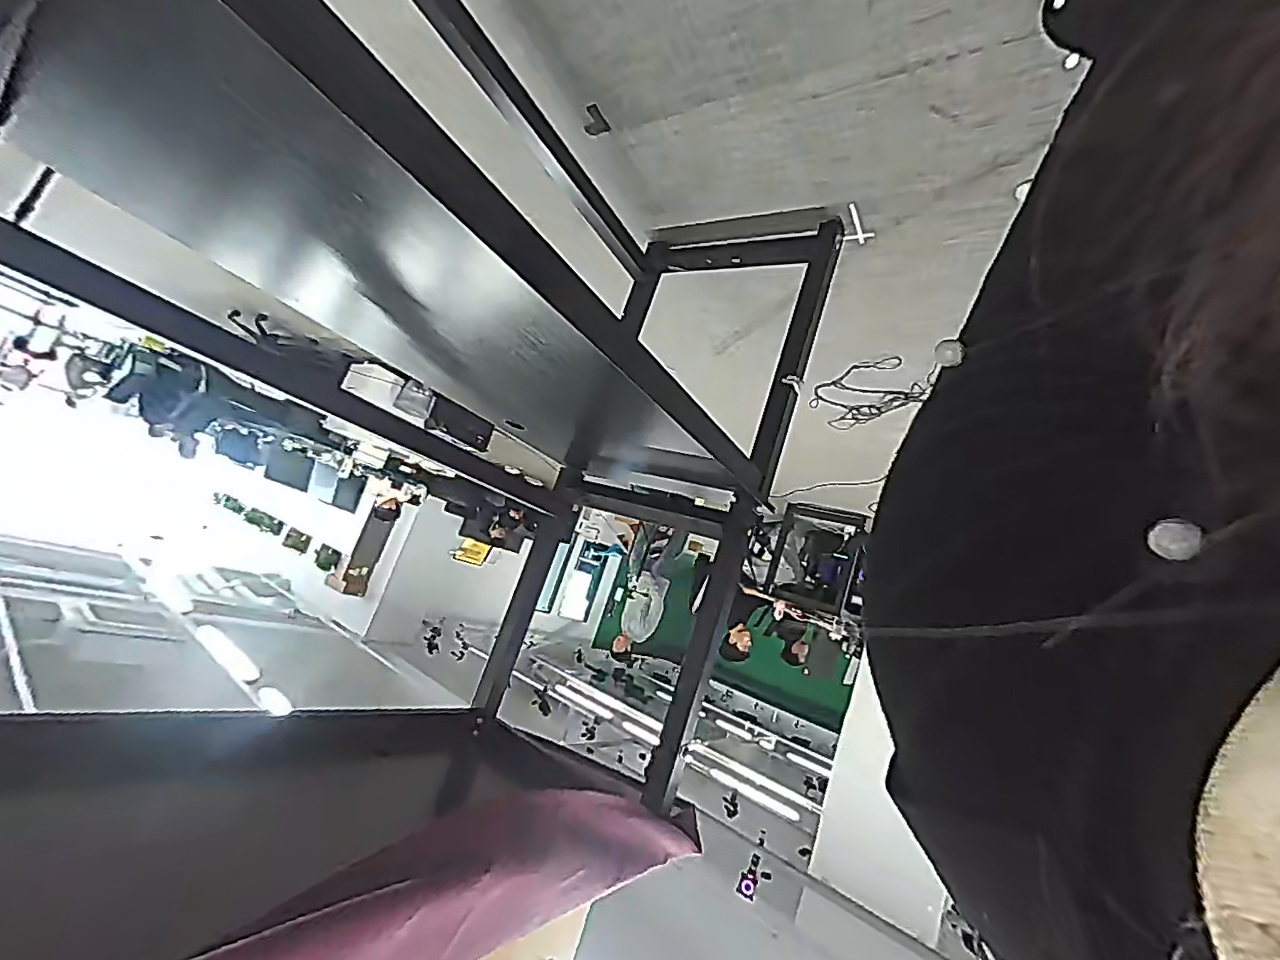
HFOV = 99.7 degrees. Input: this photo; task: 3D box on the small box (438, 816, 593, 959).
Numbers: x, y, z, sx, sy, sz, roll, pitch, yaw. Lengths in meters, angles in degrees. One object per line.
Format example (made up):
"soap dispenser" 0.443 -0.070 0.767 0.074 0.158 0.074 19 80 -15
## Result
"small box" -0.210 0.717 0.938 0.179 0.176 0.168 10 167 43
